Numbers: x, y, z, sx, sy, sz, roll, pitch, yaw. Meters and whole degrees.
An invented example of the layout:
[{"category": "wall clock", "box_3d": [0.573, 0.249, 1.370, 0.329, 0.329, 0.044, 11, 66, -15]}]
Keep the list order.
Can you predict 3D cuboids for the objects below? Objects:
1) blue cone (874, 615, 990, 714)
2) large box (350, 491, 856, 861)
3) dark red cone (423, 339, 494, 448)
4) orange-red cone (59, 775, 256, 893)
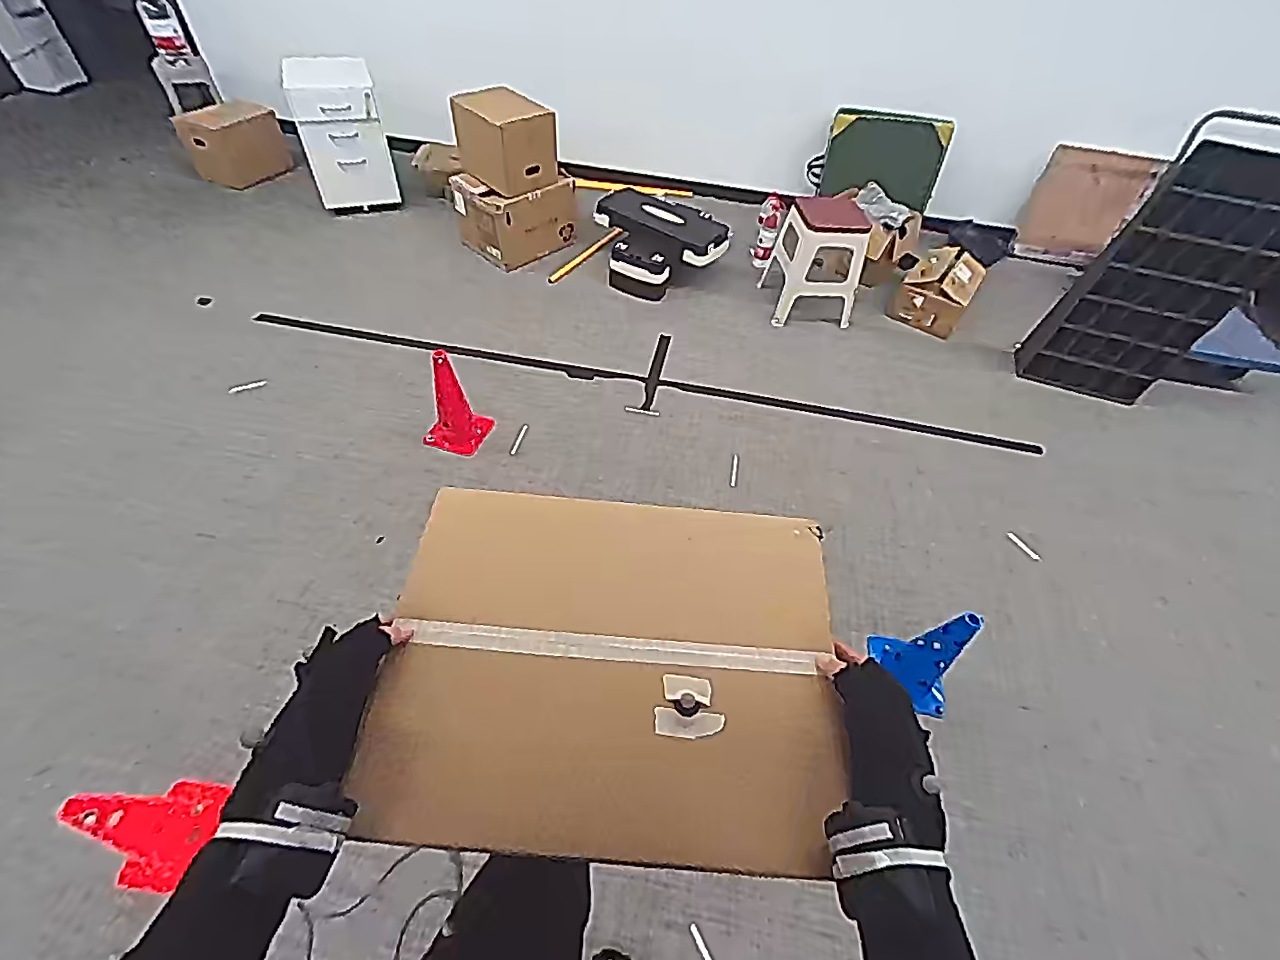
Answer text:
[{"category": "blue cone", "box_3d": [0.775, 0.448, 1.408, 0.192, 0.380, 0.193, 14, 51, 5]}, {"category": "large box", "box_3d": [-0.029, 0.237, 0.622, 0.408, 0.320, 0.320, 6, 55, -1]}, {"category": "dark red cone", "box_3d": [-0.646, -0.309, 1.853, 0.201, 0.394, 0.202, 16, 51, 7]}, {"category": "orange-red cone", "box_3d": [-0.965, 0.658, 1.045, 0.198, 0.360, 0.199, 9, 51, 3]}]
